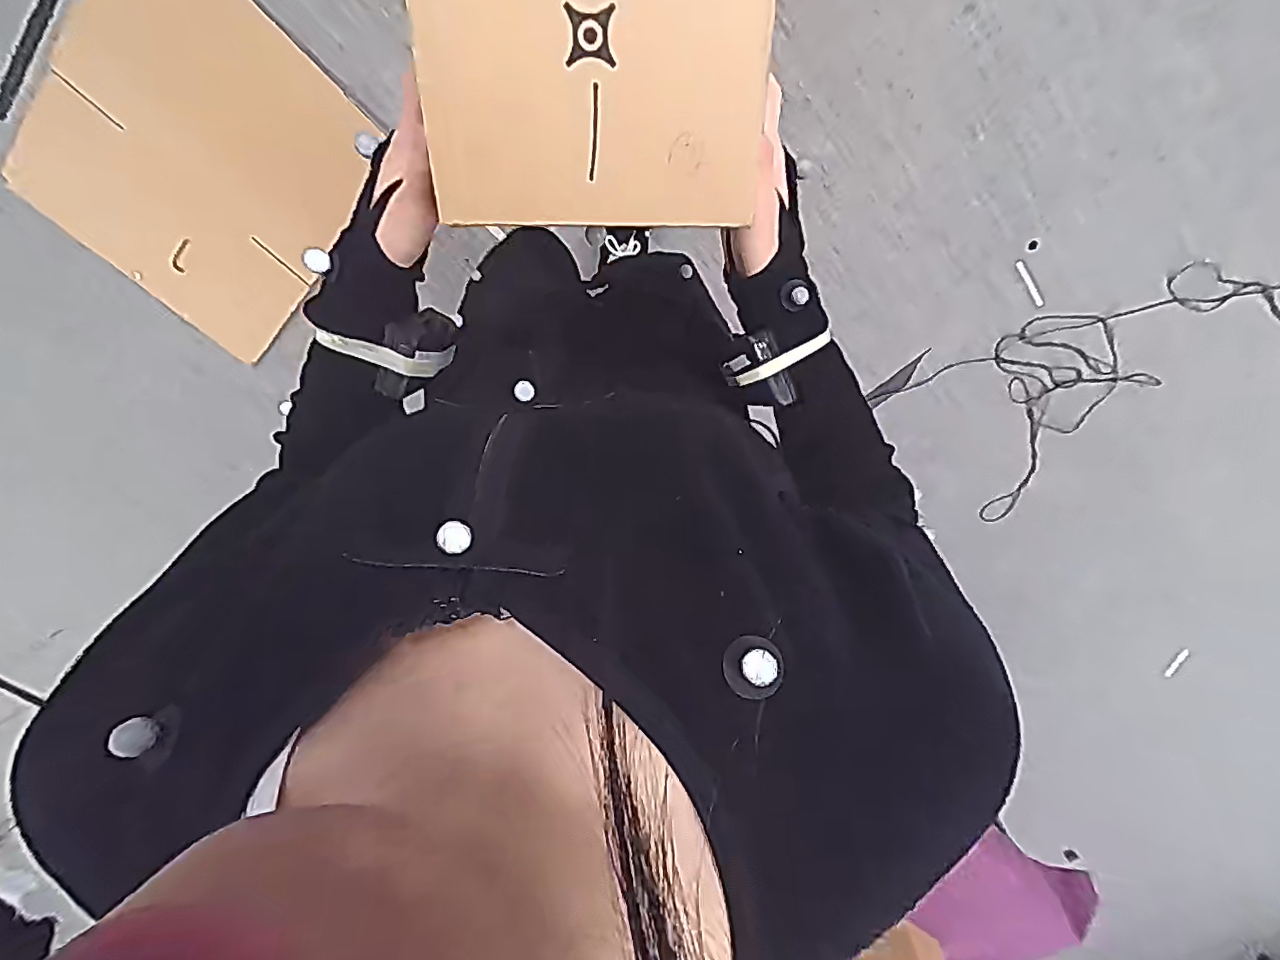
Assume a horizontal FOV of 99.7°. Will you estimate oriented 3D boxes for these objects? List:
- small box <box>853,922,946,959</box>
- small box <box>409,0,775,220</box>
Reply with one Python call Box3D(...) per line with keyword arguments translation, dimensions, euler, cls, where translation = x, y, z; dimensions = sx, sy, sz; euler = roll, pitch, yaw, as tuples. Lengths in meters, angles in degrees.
Box3D(translation=(0.645, 1.205, 1.296), dimensions=(0.168, 0.176, 0.179), euler=(-40, 111, 18), cls="small box")
Box3D(translation=(-0.023, -0.249, 0.311), dimensions=(0.168, 0.176, 0.179), euler=(0, 117, -1), cls="small box")
